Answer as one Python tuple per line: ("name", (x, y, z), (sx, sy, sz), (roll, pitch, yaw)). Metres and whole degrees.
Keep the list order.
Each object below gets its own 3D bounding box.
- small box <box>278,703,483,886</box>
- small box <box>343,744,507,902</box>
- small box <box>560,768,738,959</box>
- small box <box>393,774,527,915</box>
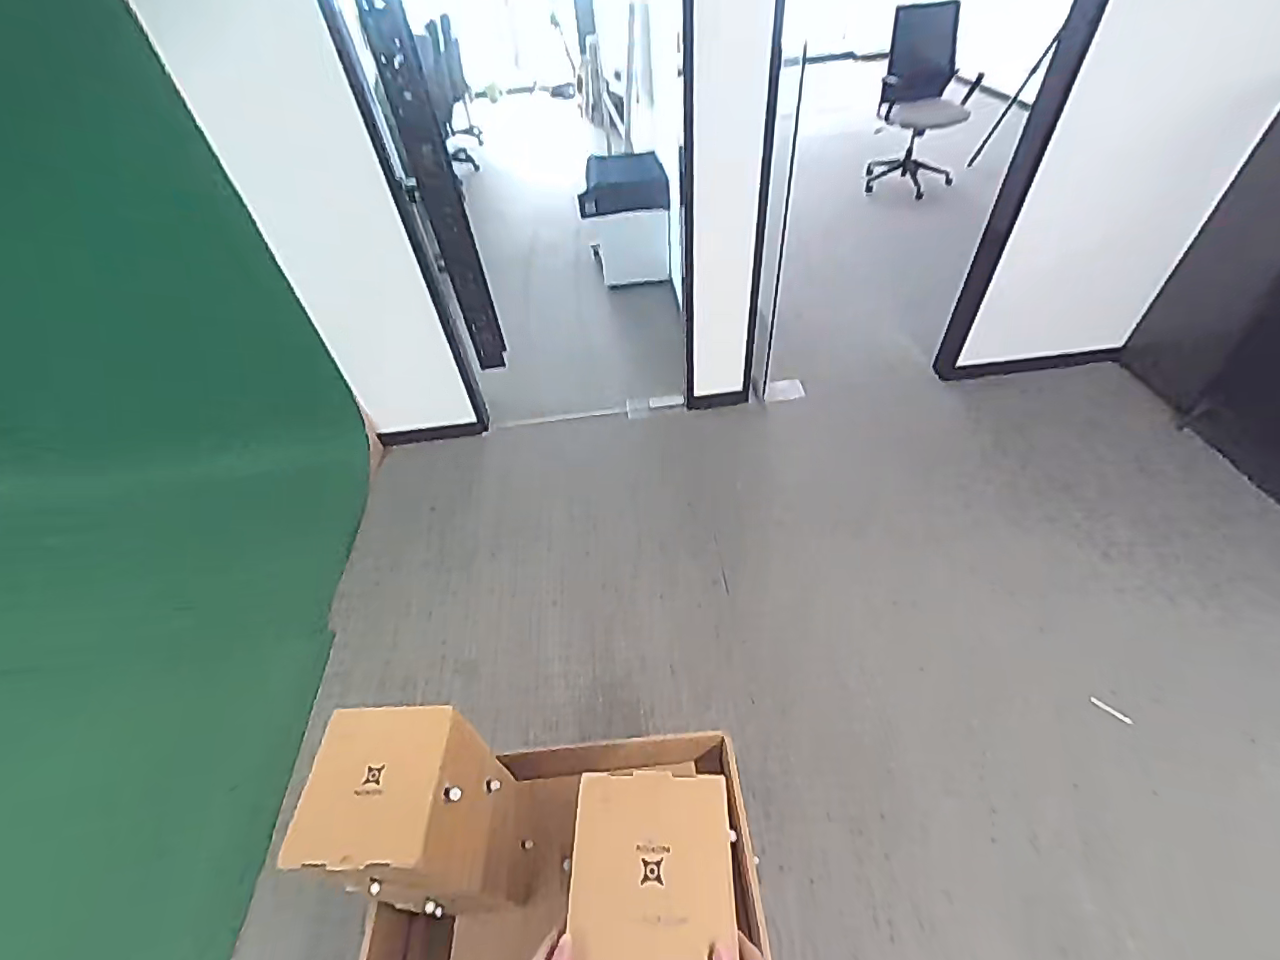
("small box", (-0.318, 0.414, 0.713), (0.168, 0.176, 0.179), (-2, 47, 3))
("small box", (-0.312, 0.527, 0.830), (0.168, 0.176, 0.179), (-3, 46, 3))
("small box", (0.011, 0.445, 0.602), (0.168, 0.176, 0.179), (2, 45, 1))
("small box", (-0.301, 0.639, 0.948), (0.168, 0.176, 0.179), (-5, 46, 1))
